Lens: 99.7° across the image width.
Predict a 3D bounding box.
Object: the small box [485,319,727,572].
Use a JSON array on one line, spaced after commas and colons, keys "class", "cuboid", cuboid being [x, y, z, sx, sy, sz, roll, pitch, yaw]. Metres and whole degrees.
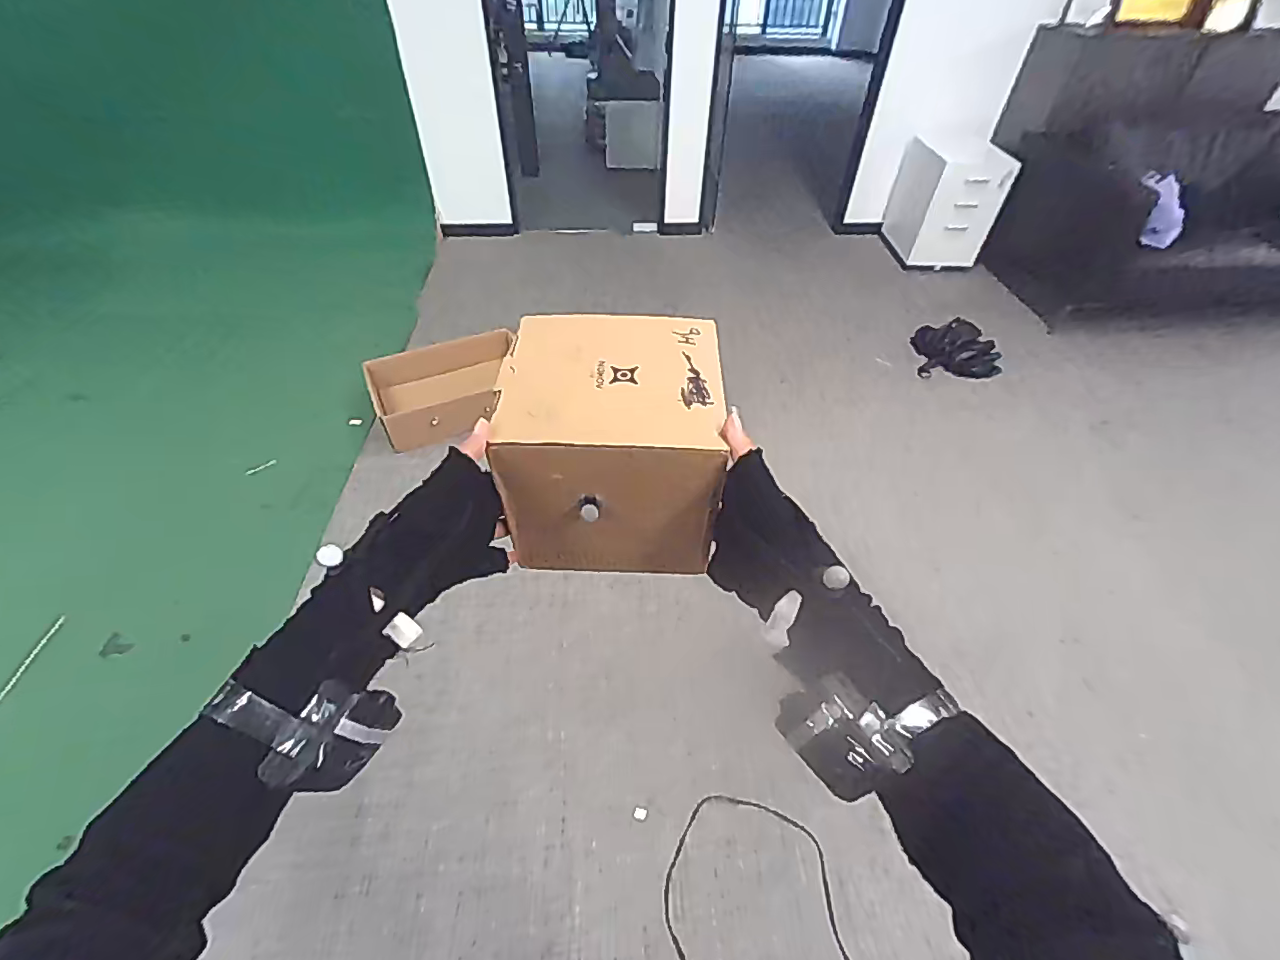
[{"class": "small box", "cuboid": [-0.021, -0.028, 0.493, 0.179, 0.176, 0.168, 1, 49, 1]}]
